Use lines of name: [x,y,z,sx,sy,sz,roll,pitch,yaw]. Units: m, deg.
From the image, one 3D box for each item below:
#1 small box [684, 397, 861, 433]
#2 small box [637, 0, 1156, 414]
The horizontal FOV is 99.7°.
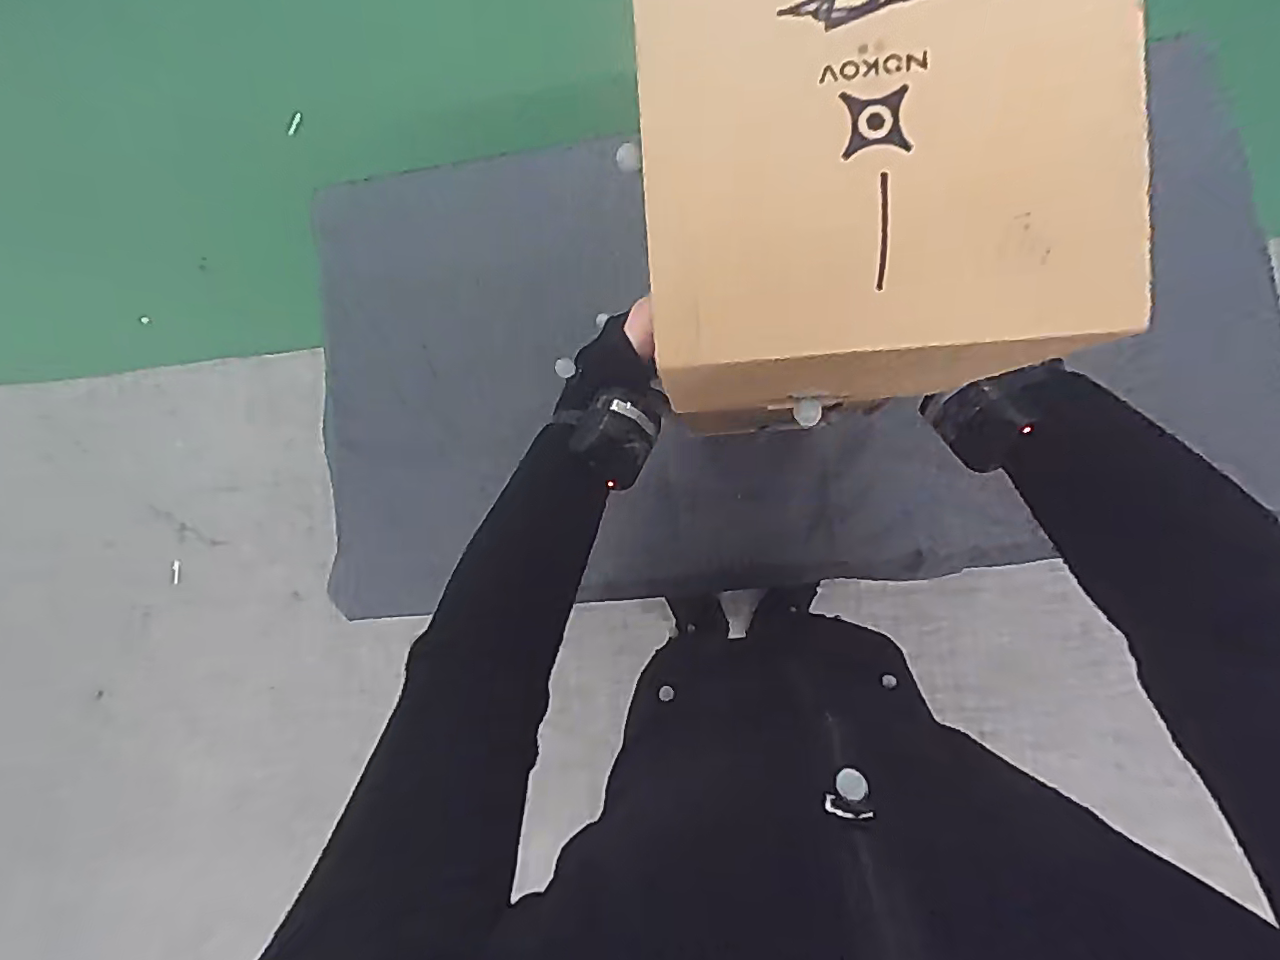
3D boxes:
small box: [0.131,-0.144,0.586,0.168,0.176,0.179,-4,91,8]
small box: [0.090,-0.131,0.262,0.168,0.176,0.179,-4,92,7]
